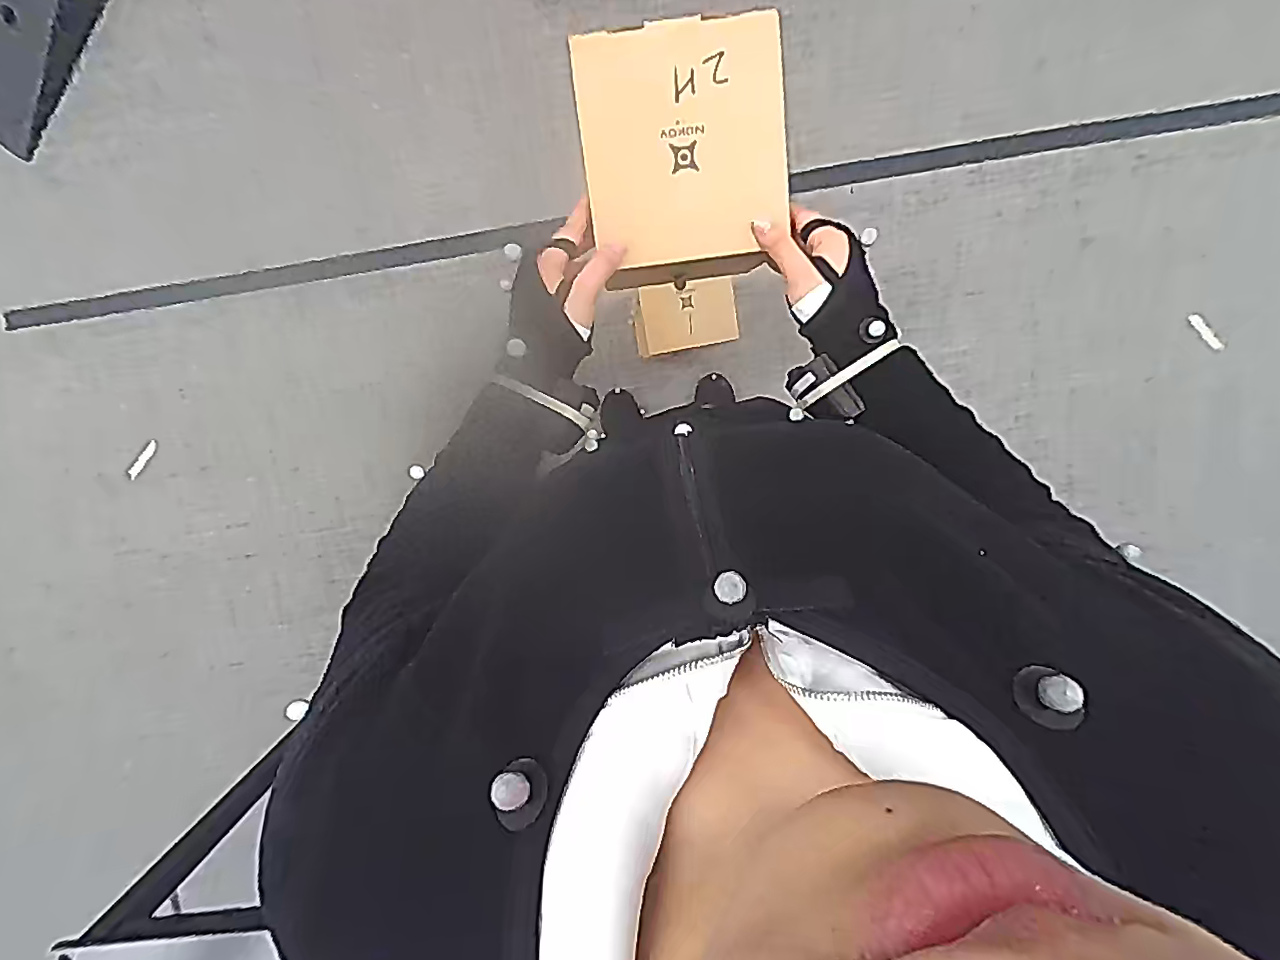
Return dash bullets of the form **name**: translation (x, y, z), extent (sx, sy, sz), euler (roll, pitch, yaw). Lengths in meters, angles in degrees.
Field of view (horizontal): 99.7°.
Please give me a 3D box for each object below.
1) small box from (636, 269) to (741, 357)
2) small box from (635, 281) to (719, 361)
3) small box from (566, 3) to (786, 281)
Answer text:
- **small box**: translation (0.084, -0.336, 1.024), extent (0.168, 0.176, 0.179), euler (-10, 101, 2)
- **small box**: translation (0.081, -0.365, 1.186), extent (0.168, 0.176, 0.179), euler (-10, 99, 3)
- **small box**: translation (0.032, -0.292, 0.514), extent (0.168, 0.176, 0.179), euler (-8, 103, 1)
